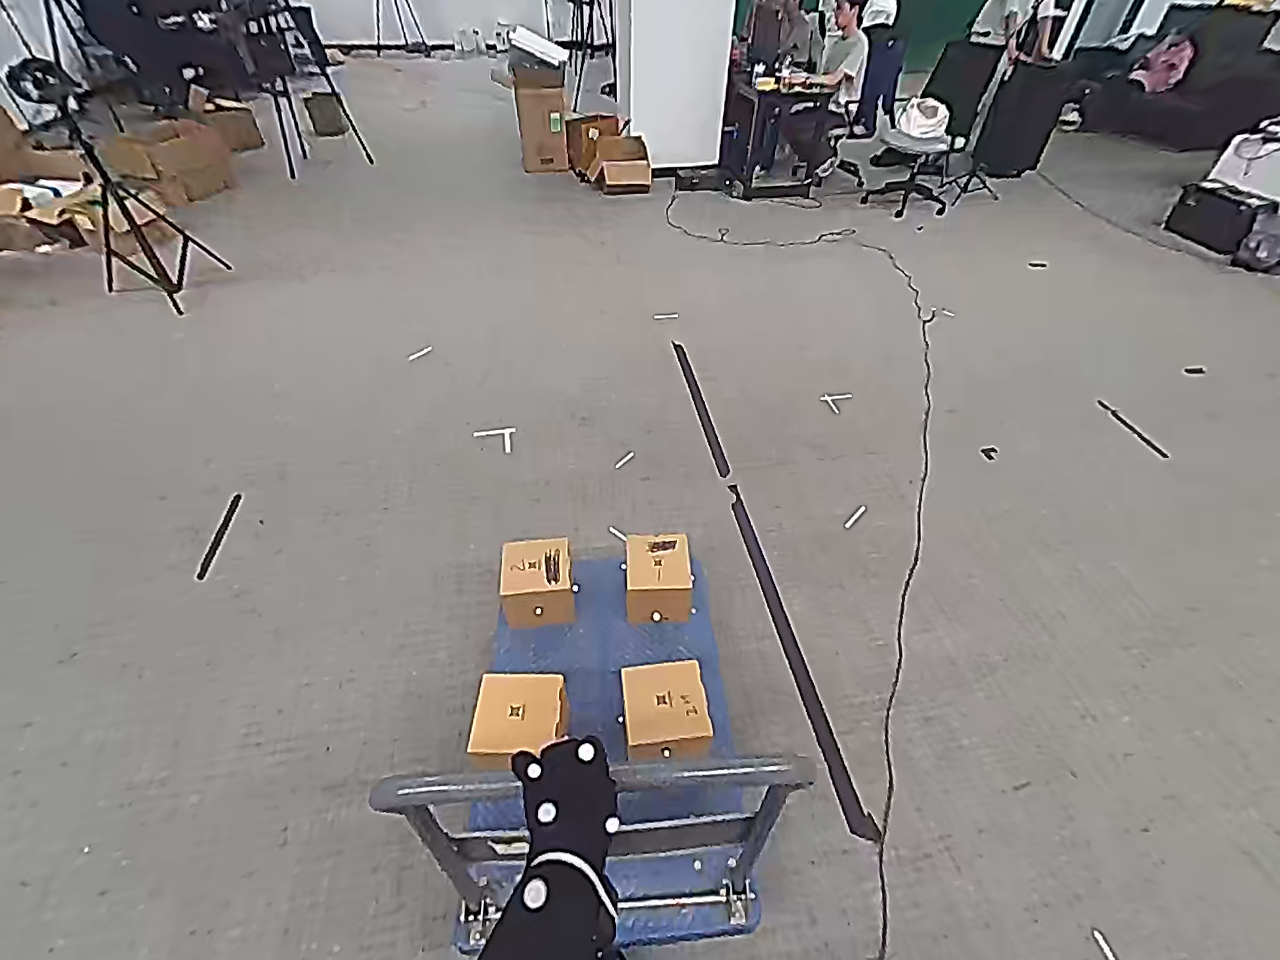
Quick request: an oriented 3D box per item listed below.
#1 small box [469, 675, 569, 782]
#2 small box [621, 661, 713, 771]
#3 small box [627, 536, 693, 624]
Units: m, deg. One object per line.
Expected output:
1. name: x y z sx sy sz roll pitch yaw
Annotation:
1. small box: -0.253 0.543 1.178 0.179 0.176 0.168 1 43 -2
2. small box: 0.055 0.525 1.196 0.179 0.176 0.168 -5 45 -5
3. small box: 0.049 0.270 1.459 0.168 0.176 0.179 -1 46 -1
